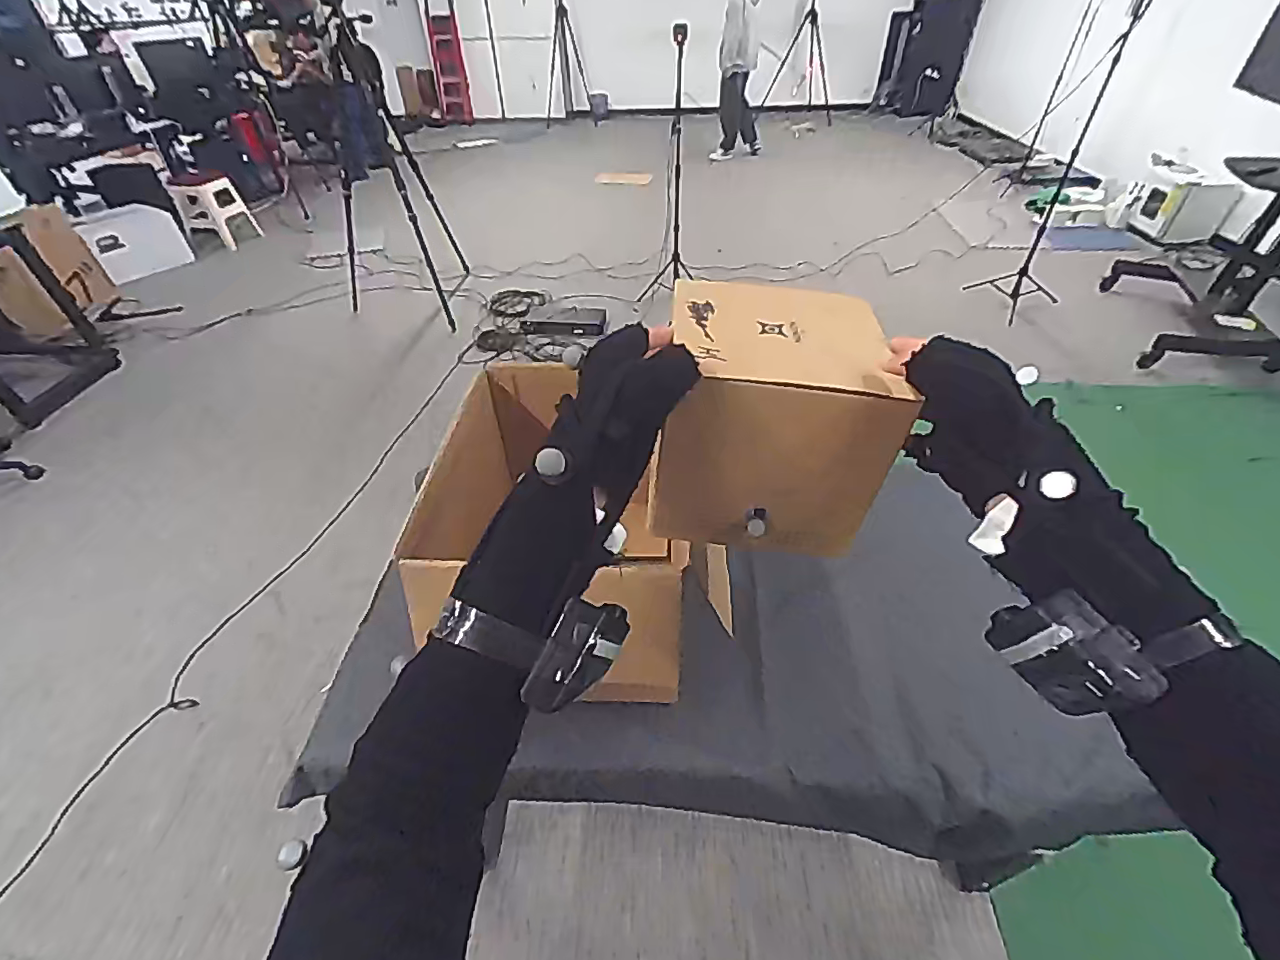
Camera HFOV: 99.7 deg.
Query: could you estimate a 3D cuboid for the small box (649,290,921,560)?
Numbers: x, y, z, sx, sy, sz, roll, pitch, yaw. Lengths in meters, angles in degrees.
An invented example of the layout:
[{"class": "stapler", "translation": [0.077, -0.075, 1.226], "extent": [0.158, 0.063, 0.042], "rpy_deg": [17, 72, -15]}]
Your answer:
[{"class": "small box", "translation": [0.109, -0.047, 0.484], "extent": [0.179, 0.176, 0.168], "rpy_deg": [7, 41, 0]}]
